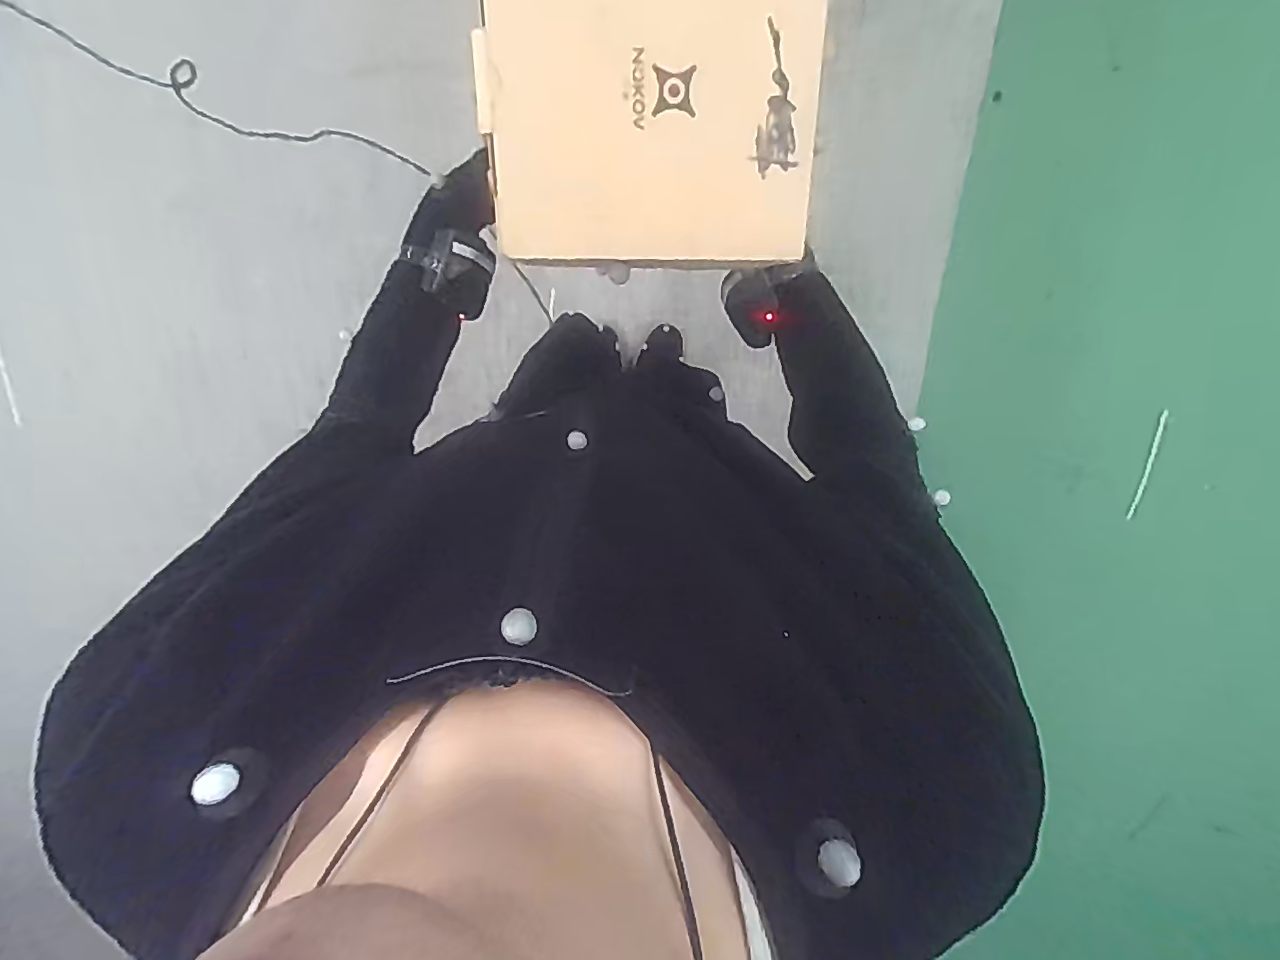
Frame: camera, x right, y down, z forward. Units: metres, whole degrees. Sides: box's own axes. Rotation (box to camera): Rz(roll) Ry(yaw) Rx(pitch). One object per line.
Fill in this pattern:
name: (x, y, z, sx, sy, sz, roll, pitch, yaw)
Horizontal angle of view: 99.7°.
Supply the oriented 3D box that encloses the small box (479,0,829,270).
small box: (0.002, -0.229, 0.353, 0.179, 0.176, 0.168, -2, 110, -5)
